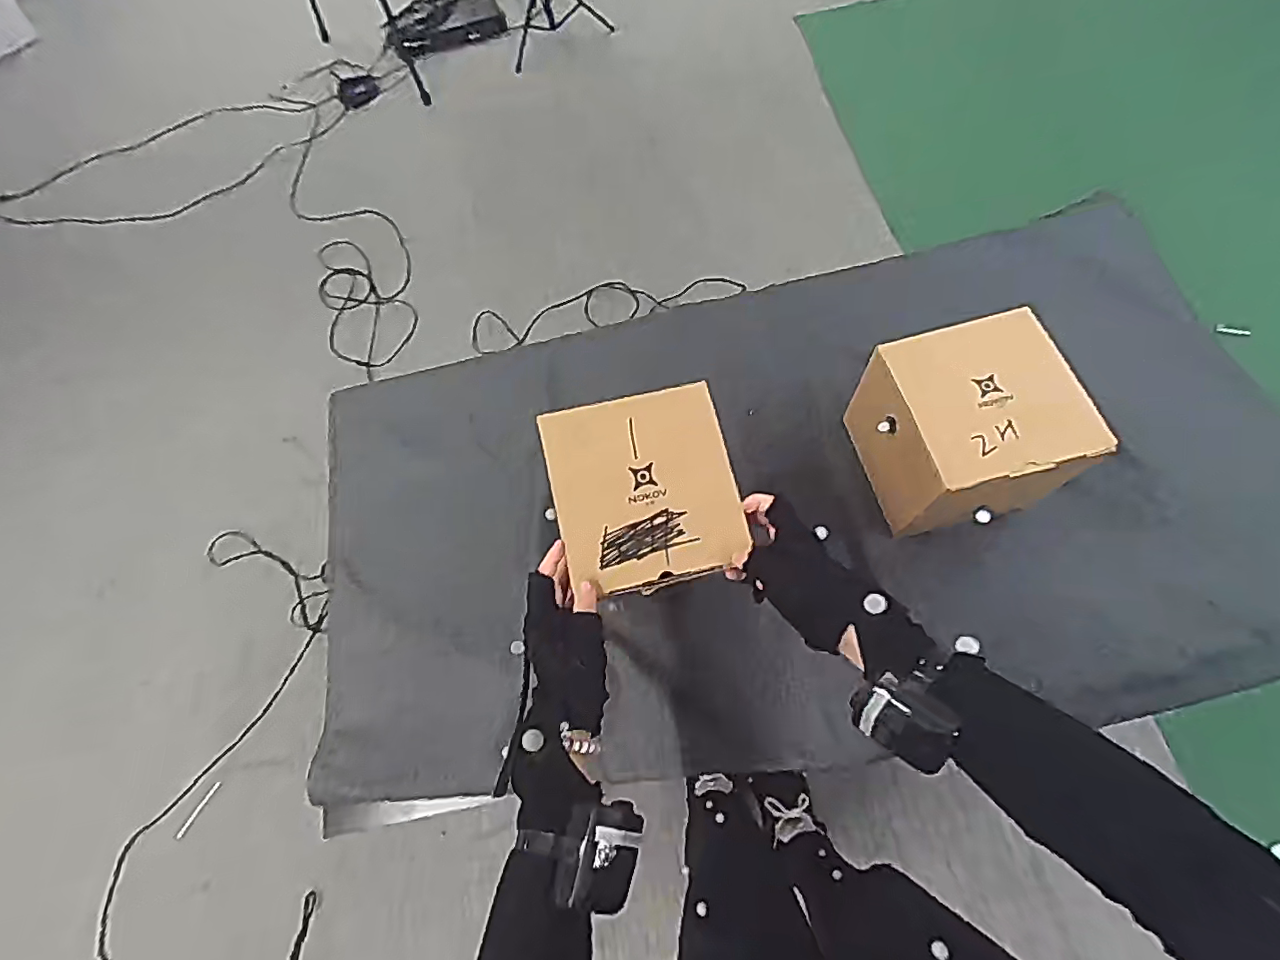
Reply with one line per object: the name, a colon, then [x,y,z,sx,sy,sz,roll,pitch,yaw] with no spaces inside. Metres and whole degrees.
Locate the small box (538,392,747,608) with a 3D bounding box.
small box: [-0.001,0.032,0.570,0.168,0.176,0.179,-12,75,-5]
